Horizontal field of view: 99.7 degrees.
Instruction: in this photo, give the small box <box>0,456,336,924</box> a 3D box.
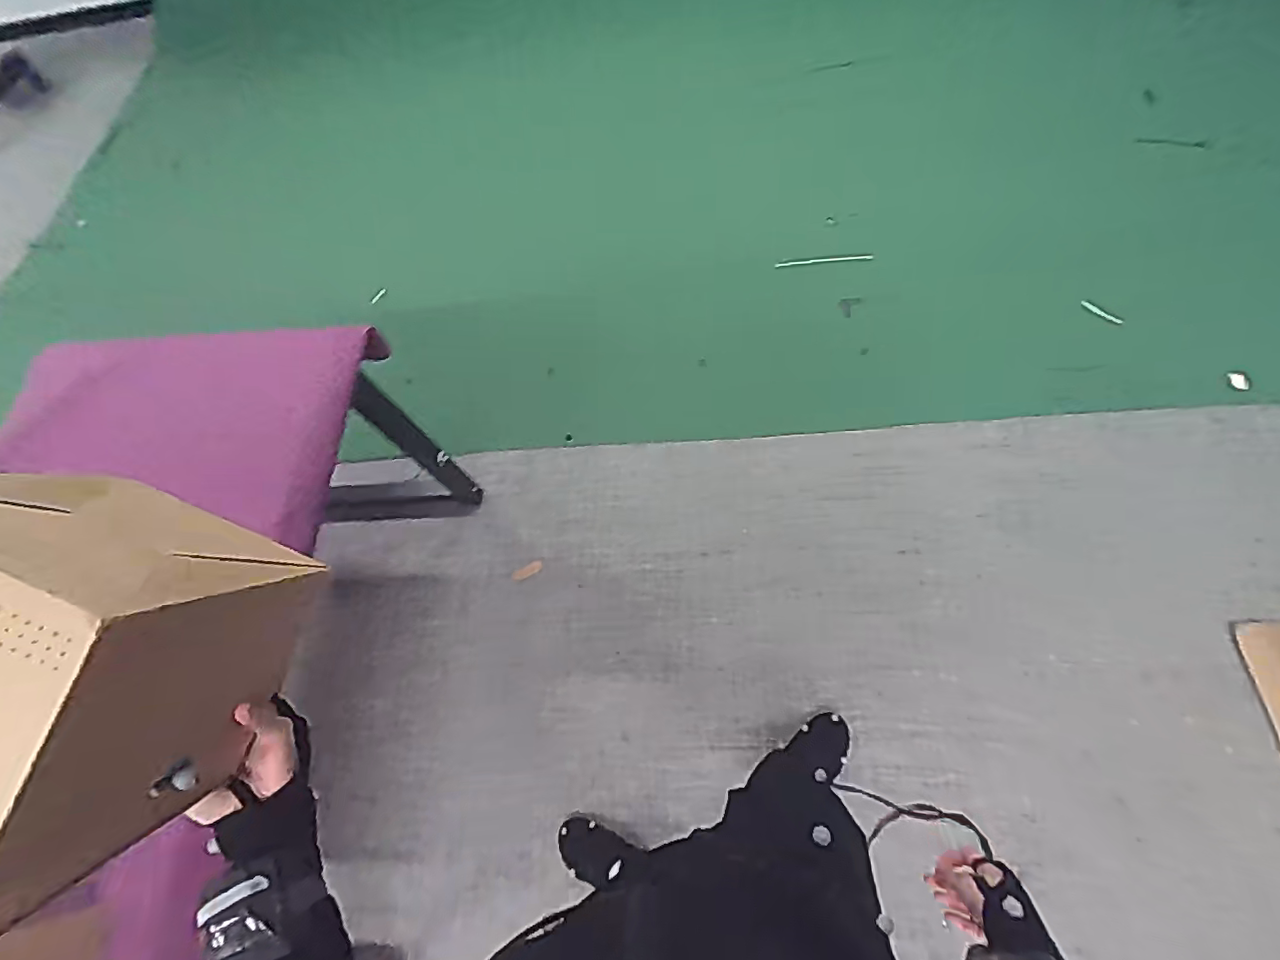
[{"bbox_3d":[-0.323,0.091,0.315,0.168,0.179,0.176,25,87,2],"label":"small box"}]
